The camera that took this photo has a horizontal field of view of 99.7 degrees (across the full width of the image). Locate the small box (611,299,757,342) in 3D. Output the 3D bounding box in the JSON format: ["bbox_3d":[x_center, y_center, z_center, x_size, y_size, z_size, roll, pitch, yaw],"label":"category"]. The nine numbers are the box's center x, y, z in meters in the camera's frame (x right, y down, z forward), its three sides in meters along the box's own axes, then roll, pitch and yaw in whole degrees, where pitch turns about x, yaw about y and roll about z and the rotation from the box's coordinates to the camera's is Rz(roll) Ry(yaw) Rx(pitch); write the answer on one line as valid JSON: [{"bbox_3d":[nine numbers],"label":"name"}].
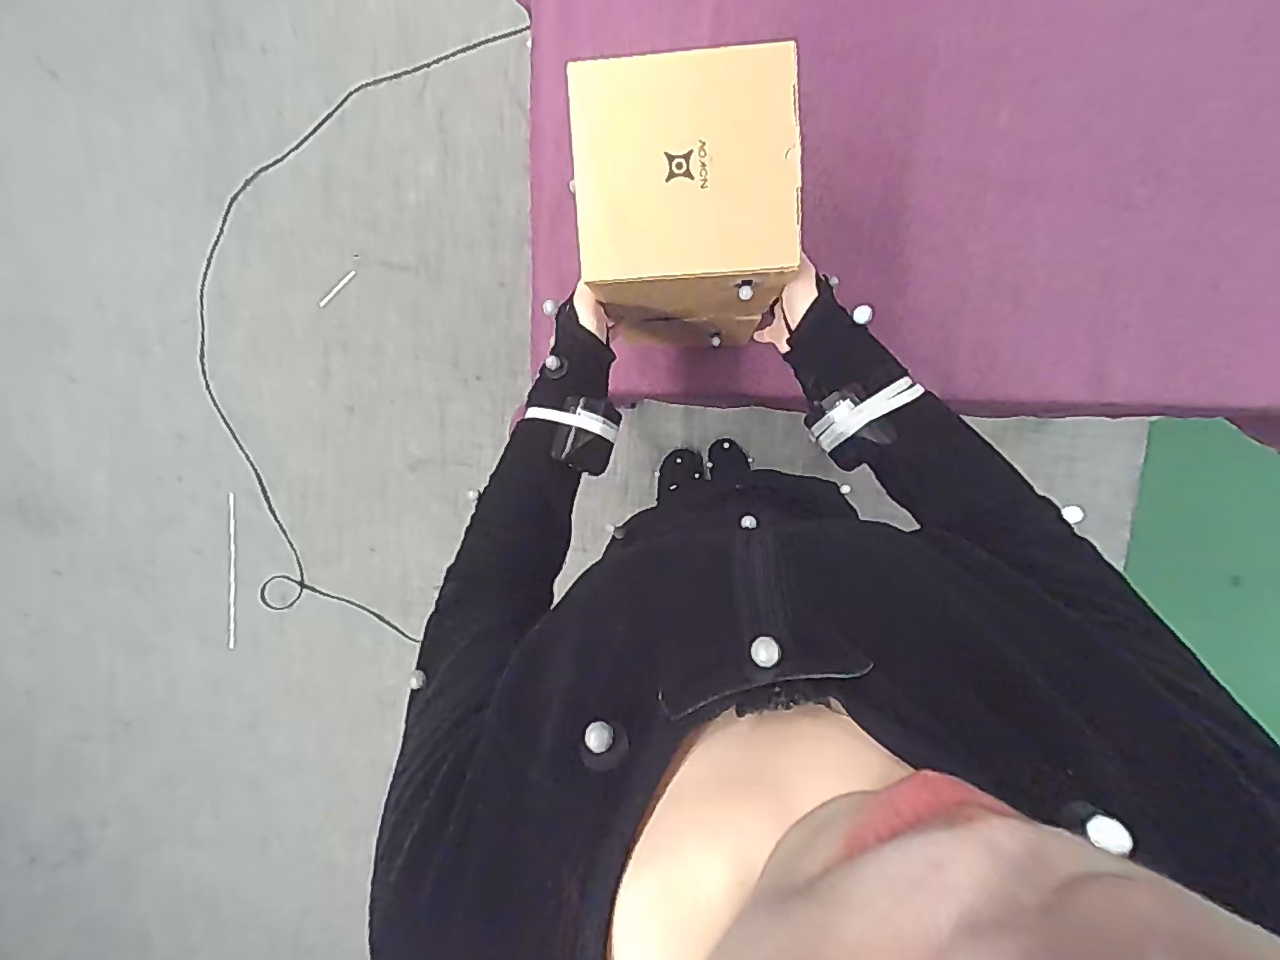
[{"bbox_3d":[0.055,-0.271,0.673,0.168,0.176,0.179,1,94,4],"label":"small box"}]

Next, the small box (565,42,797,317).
[{"bbox_3d":[0.036,-0.252,0.497,0.179,0.176,0.168,-3,96,2],"label":"small box"}]
